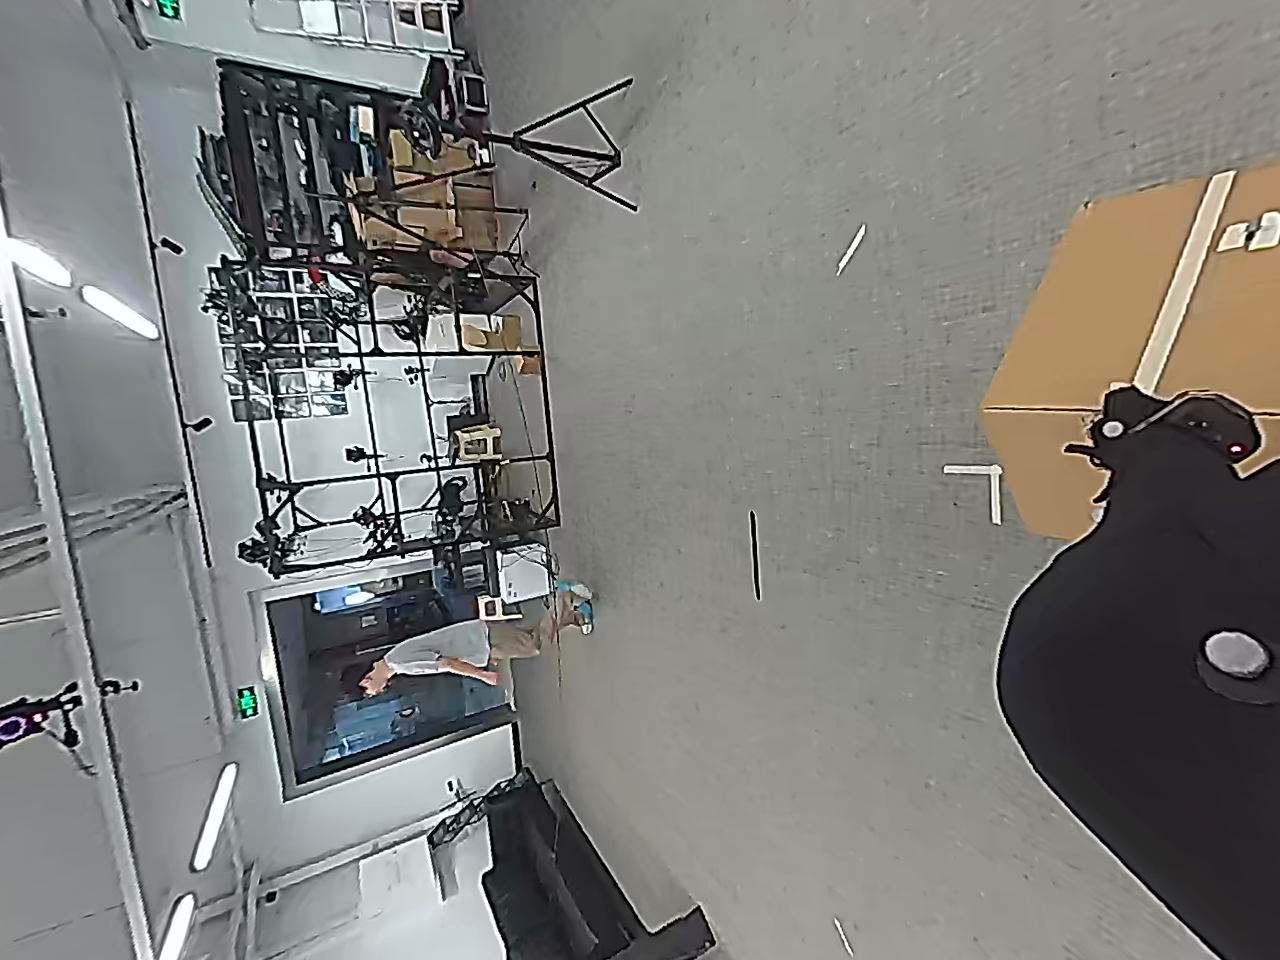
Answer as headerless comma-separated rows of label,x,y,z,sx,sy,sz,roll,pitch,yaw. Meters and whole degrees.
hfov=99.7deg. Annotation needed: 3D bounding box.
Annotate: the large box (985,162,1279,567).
large box,0.741,-0.146,0.728,0.320,0.408,0.320,45,162,-32
